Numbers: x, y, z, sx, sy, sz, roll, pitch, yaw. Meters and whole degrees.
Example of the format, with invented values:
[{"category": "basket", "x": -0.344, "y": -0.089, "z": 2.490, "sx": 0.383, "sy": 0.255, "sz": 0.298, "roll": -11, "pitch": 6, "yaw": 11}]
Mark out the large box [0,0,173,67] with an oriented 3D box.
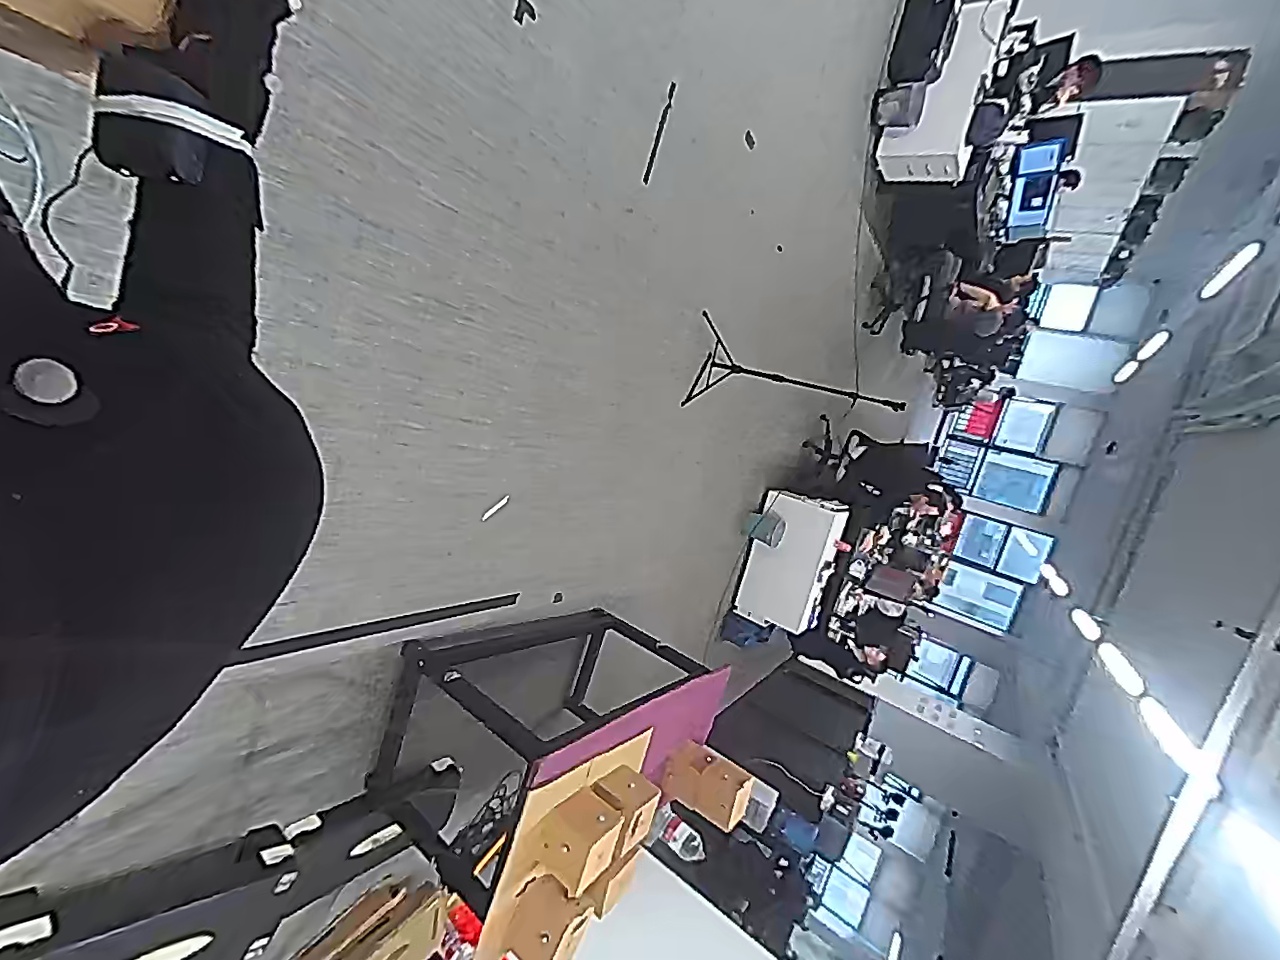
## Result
[{"category": "large box", "x": -0.511, "y": -0.481, "z": 0.253, "sx": 0.408, "sy": 0.320, "sz": 0.320, "roll": -1, "pitch": 115, "yaw": -57}]
